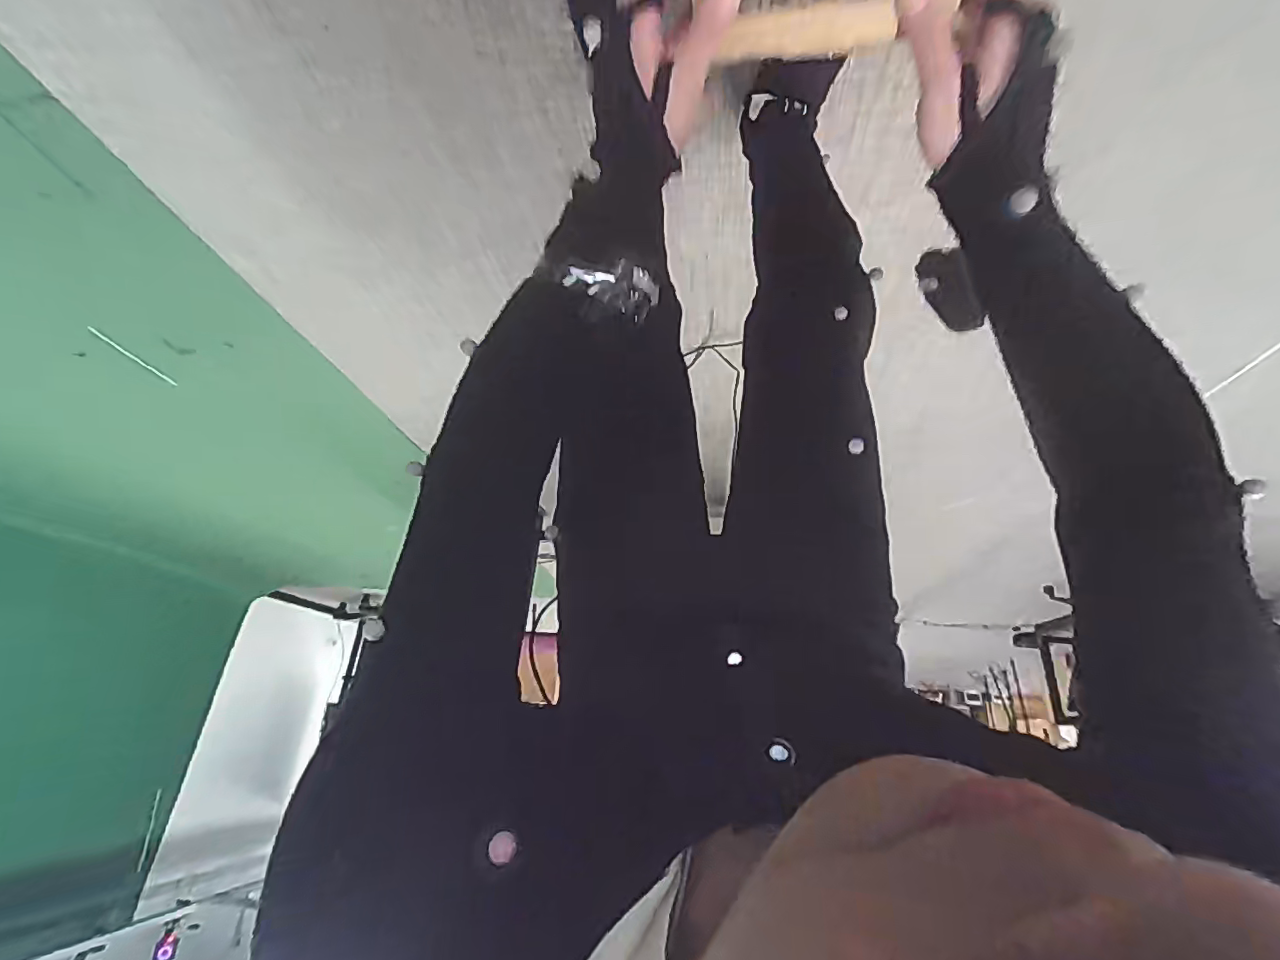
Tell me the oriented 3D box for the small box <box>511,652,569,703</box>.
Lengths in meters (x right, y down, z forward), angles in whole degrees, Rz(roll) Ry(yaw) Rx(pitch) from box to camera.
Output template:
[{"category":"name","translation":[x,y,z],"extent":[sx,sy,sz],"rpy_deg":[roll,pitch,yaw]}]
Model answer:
[{"category":"small box","translation":[-0.371,0.745,2.037],"extent":[0.179,0.176,0.168],"rpy_deg":[1,156,7]}]
